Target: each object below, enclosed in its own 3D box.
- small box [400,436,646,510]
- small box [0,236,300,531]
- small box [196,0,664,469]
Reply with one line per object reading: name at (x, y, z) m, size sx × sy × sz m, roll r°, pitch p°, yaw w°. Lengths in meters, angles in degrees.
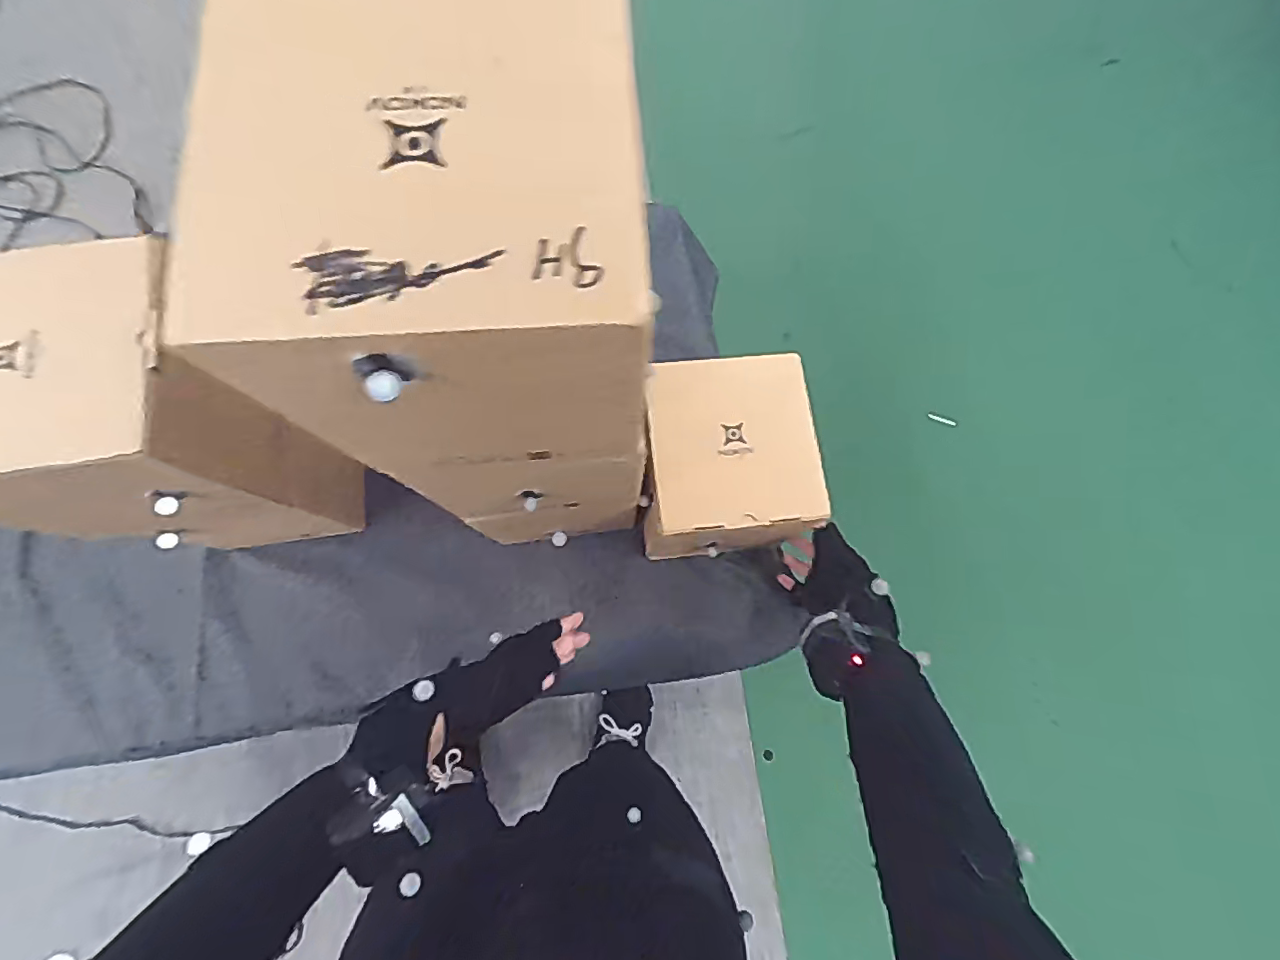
small box at (-0.084, -0.075, 0.449) m, size 0.168 × 0.176 × 0.179 m, roll -5°, pitch 76°, yaw -3°
small box at (-0.403, -0.062, 0.435) m, size 0.179 × 0.176 × 0.168 m, roll -10°, pitch 75°, yaw -4°
small box at (-0.079, -0.115, 0.290) m, size 0.168 × 0.176 × 0.179 m, roll -3°, pitch 75°, yaw -2°
